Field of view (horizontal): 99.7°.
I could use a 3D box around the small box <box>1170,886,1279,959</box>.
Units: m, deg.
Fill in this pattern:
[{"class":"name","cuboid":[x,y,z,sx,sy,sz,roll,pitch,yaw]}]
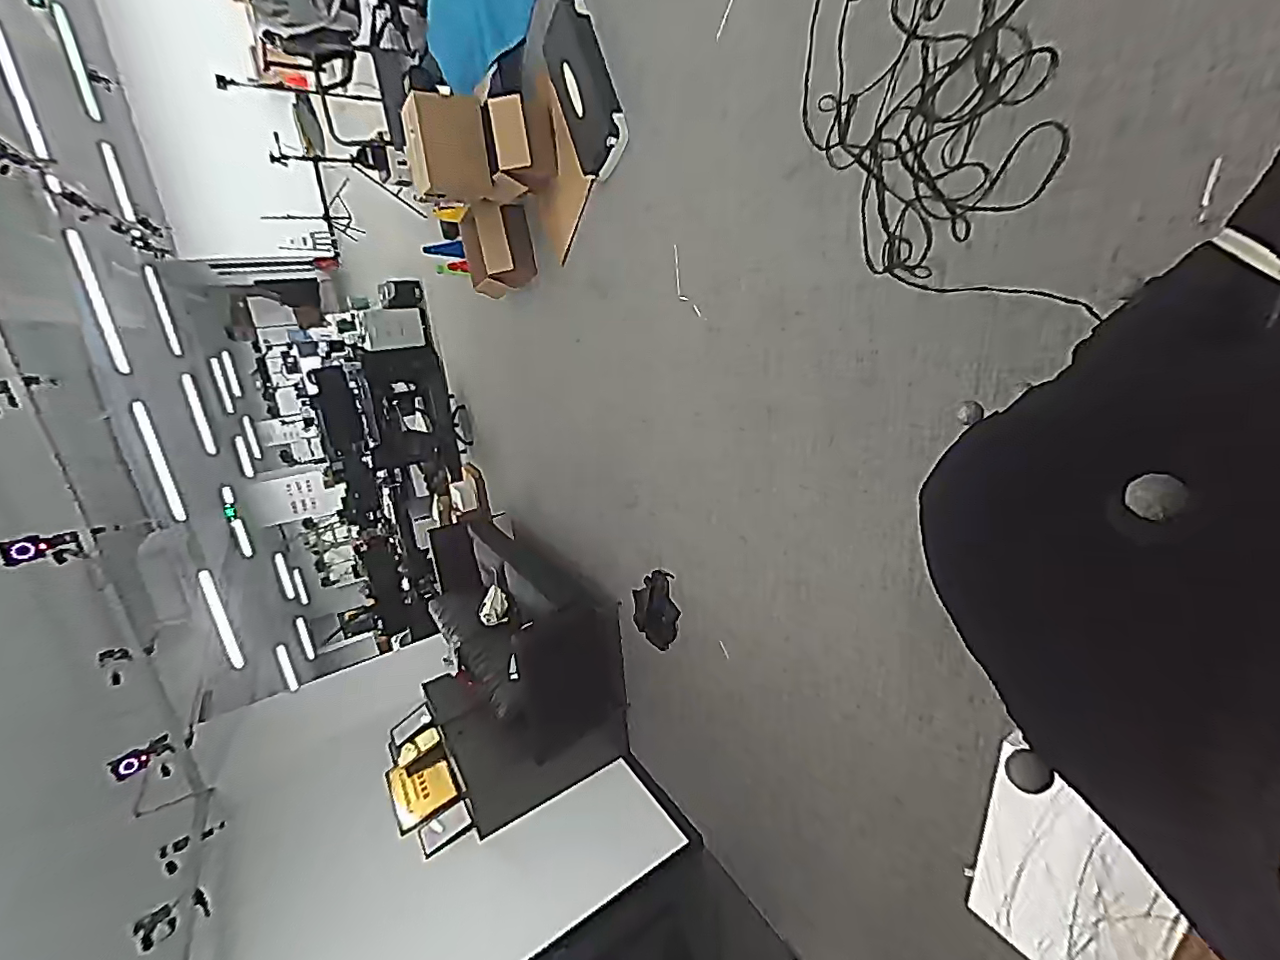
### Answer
[{"class":"small box","cuboid":[0.692,0.604,0.580,0.168,0.176,0.179,17,118,57]}]
